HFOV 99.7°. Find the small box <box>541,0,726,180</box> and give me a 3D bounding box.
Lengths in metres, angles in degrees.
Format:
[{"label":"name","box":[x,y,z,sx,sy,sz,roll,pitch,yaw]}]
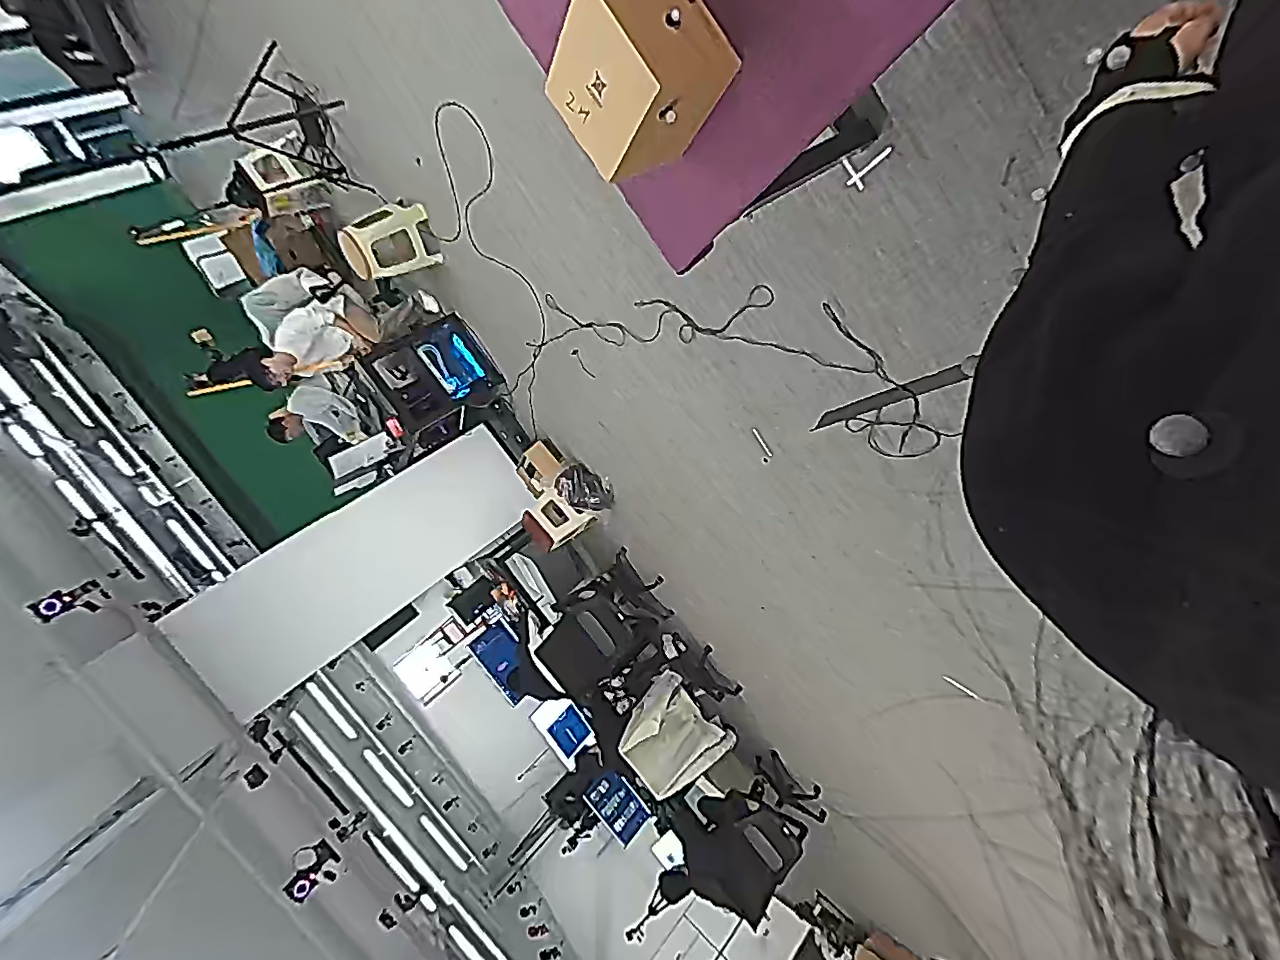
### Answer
[{"label":"small box","box":[-0.005,-0.570,0.757,0.168,0.176,0.179,55,152,-5]}]
